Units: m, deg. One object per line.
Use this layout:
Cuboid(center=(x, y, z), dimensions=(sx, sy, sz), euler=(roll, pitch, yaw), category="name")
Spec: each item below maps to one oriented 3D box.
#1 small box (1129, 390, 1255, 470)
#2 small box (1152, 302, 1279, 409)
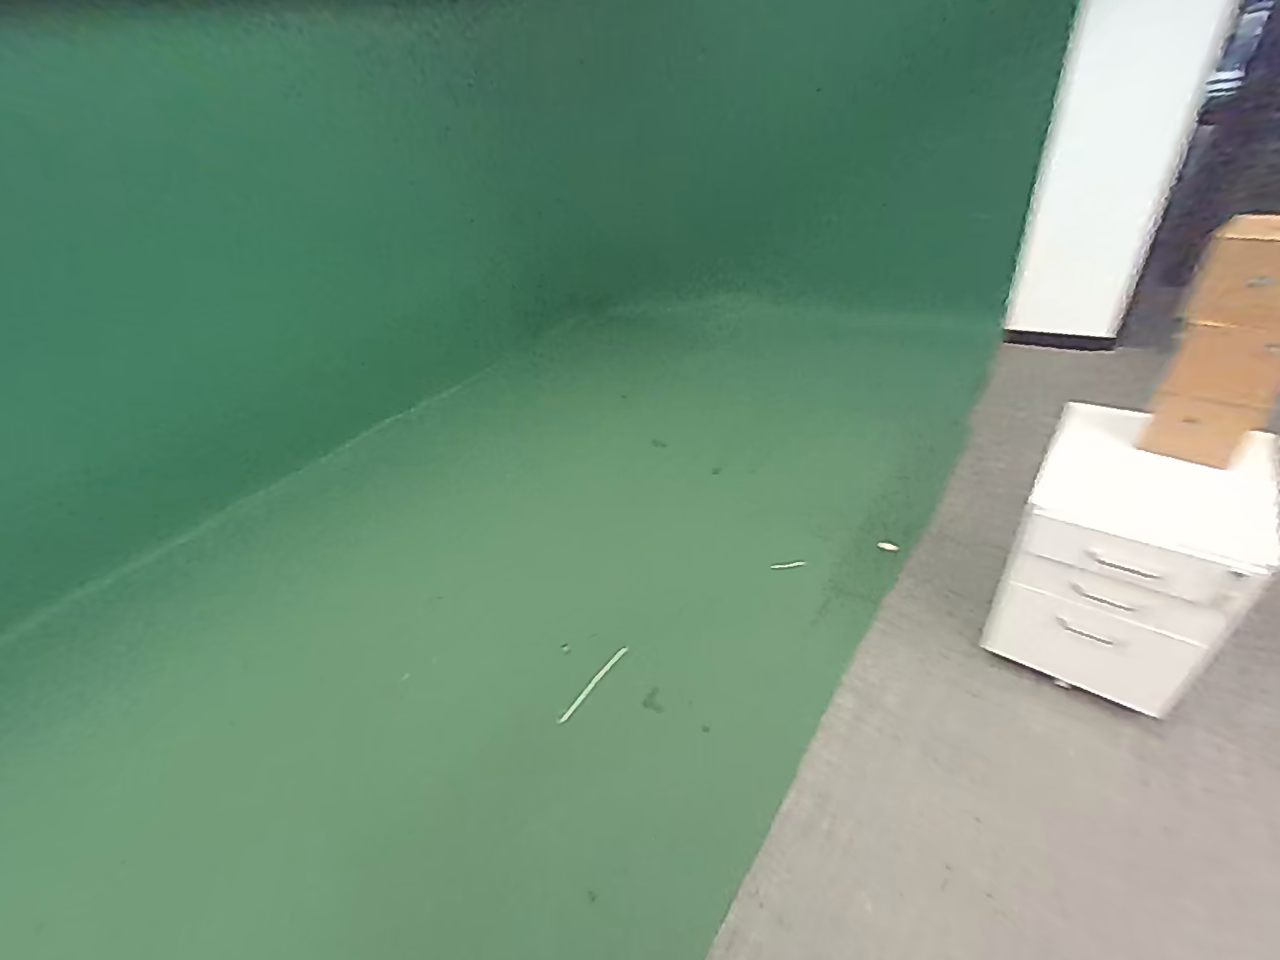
Cuboid(center=(1.316, -0.146, 1.287), dimensions=(0.168, 0.176, 0.179), euler=(-36, 42, -28), category="small box")
Cuboid(center=(1.283, -0.274, 1.192), dimensions=(0.168, 0.176, 0.179), euler=(-36, 43, -29), category="small box")
